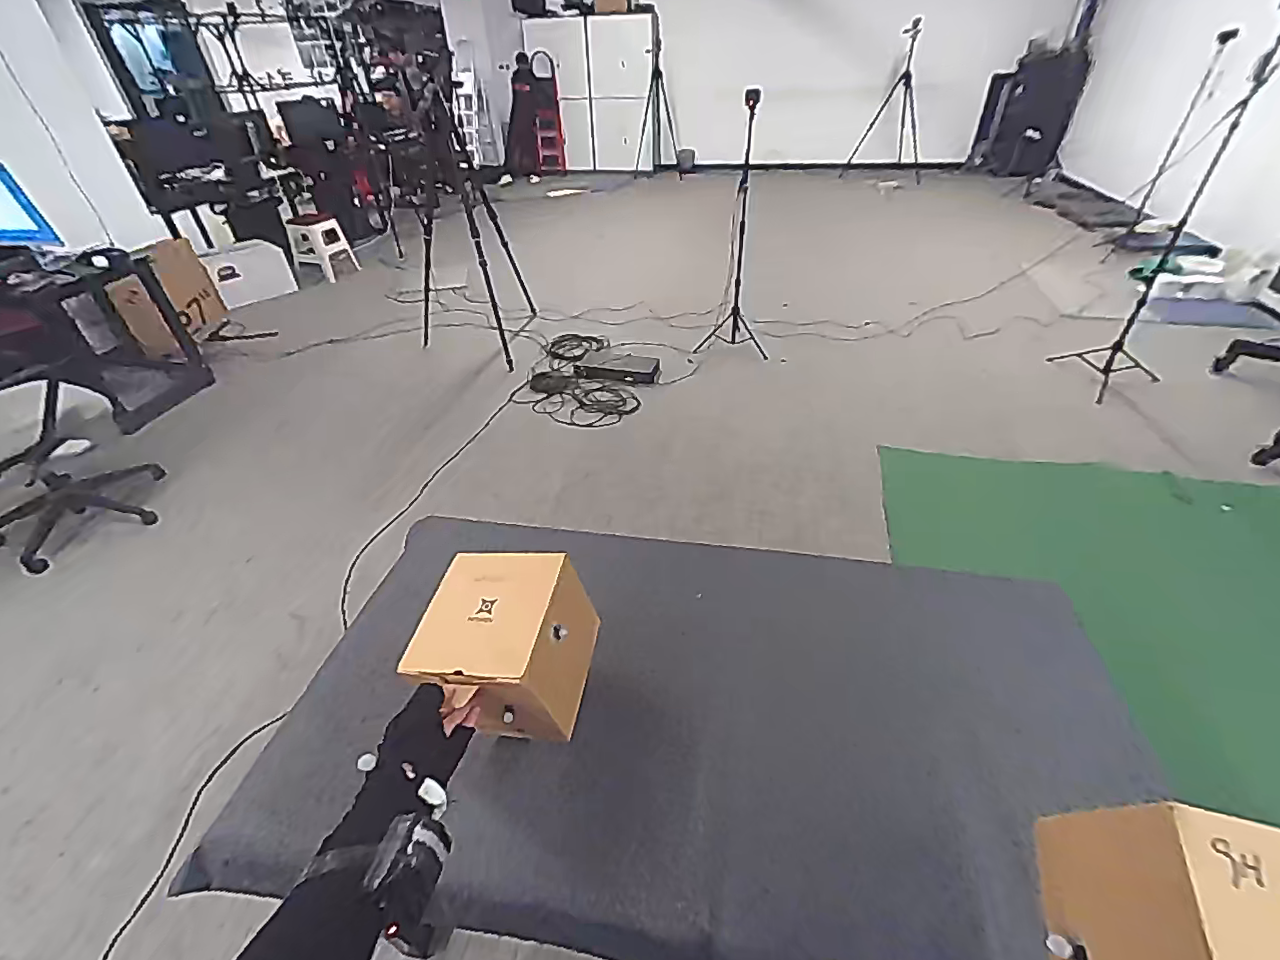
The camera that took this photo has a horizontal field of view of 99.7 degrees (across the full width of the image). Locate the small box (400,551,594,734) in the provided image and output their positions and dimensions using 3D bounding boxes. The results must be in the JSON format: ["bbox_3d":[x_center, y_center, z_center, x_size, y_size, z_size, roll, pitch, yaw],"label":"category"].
[{"bbox_3d":[-0.171,0.214,0.716,0.168,0.176,0.179,-1,43,15],"label":"small box"}]

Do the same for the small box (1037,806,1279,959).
[{"bbox_3d":[0.391,0.331,0.342,0.168,0.176,0.179,10,58,11],"label":"small box"}]
